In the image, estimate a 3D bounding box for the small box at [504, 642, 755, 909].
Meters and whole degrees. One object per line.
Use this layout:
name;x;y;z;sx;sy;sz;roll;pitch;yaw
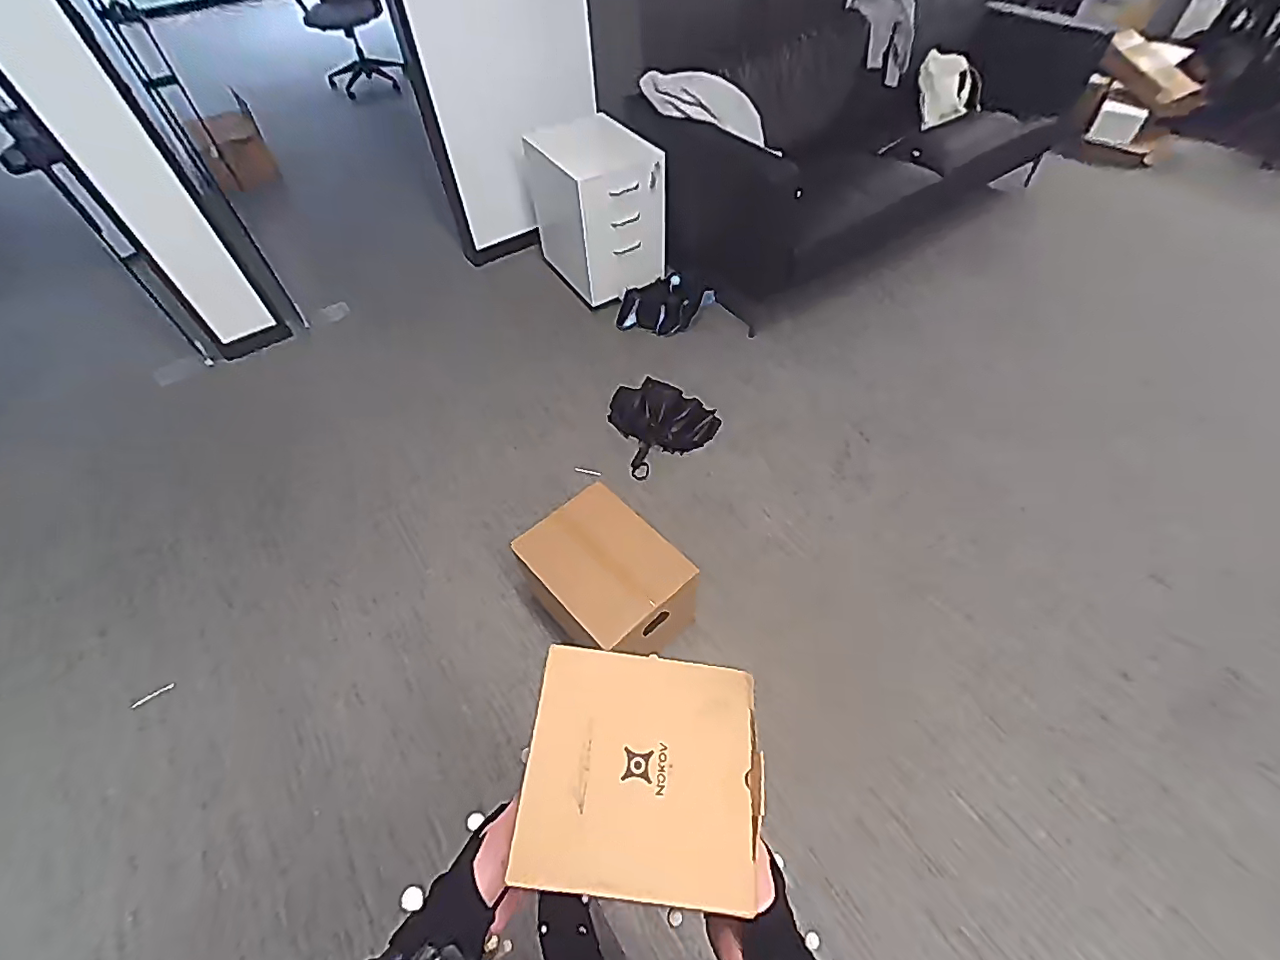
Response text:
small box;-0.007;0.259;0.478;0.179;0.176;0.168;7;55;-1
